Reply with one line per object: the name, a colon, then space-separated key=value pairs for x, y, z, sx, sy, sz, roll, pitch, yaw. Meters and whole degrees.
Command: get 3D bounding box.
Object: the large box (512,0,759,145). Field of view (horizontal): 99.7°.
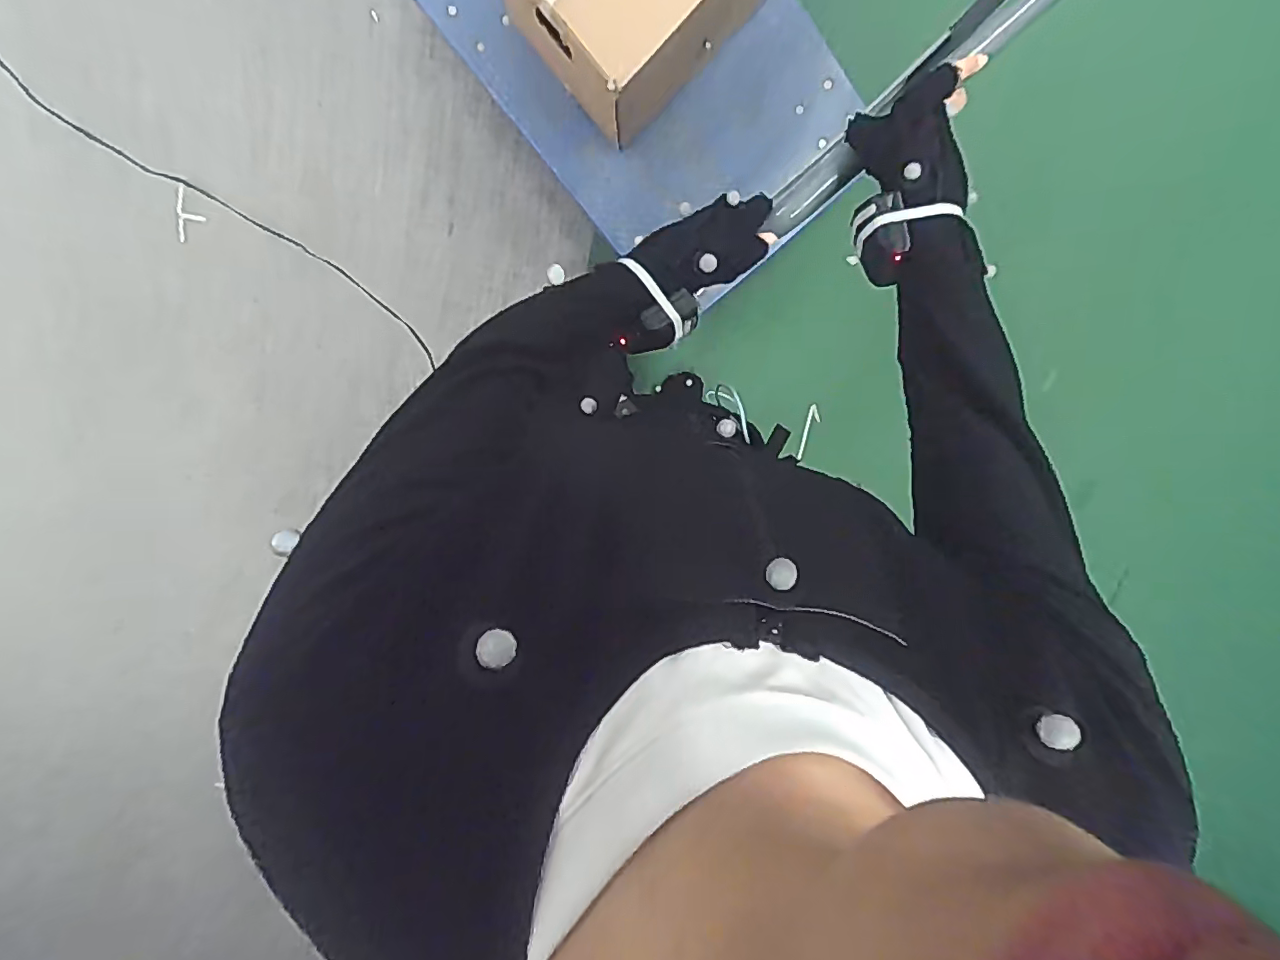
large box: x=0.012 y=-0.887 z=0.918 sx=0.408 sy=0.320 sz=0.320 roll=-43 pitch=102 yaw=11
